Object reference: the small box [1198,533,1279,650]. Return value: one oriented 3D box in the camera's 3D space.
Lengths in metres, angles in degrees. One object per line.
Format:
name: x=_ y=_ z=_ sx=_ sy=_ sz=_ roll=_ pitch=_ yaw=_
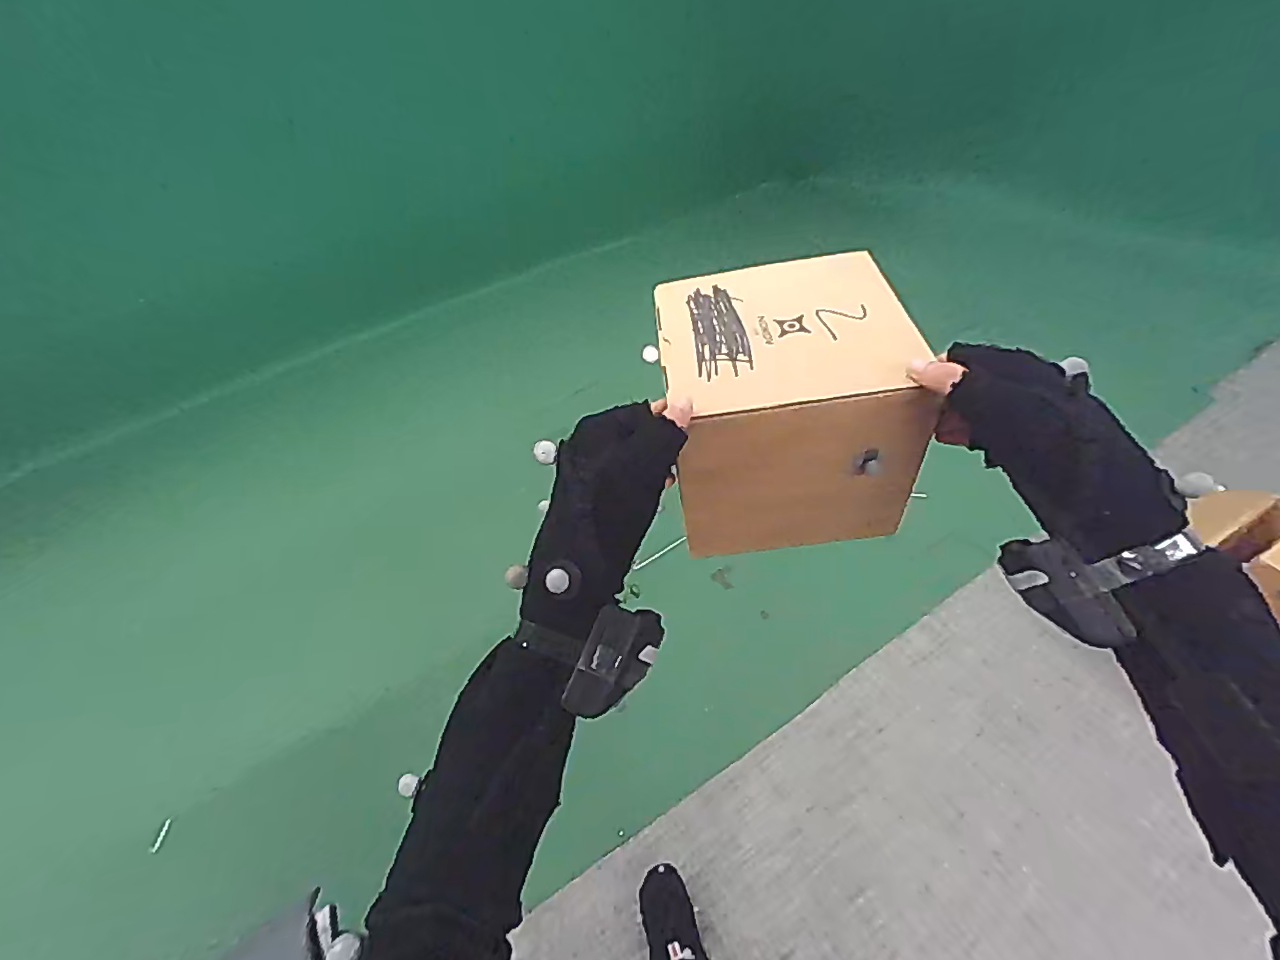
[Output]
small box: x=1.433 y=0.254 z=1.205 sx=0.168 sy=0.176 sz=0.179 roll=-24 pitch=47 yaw=-14
